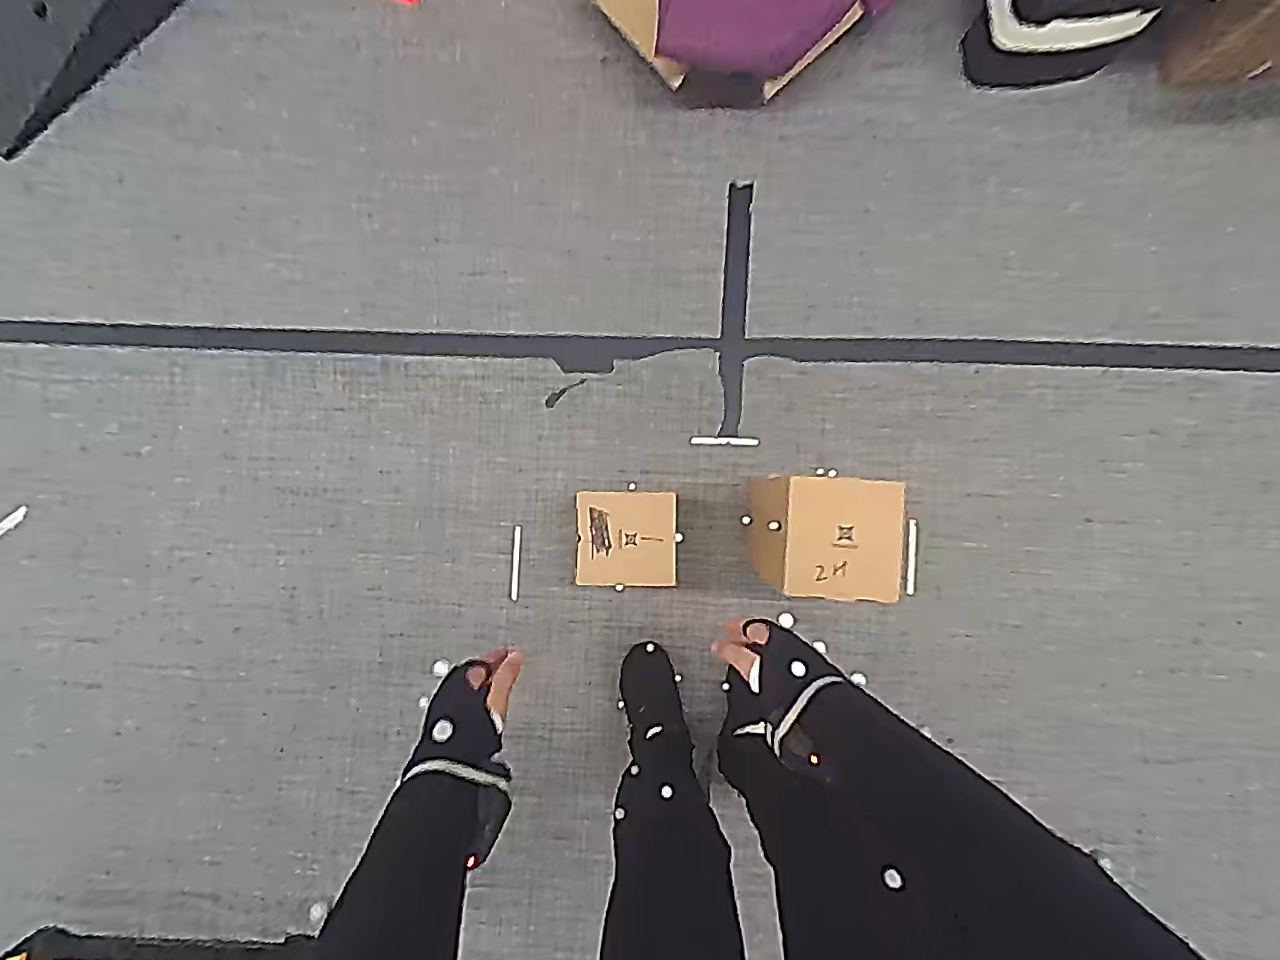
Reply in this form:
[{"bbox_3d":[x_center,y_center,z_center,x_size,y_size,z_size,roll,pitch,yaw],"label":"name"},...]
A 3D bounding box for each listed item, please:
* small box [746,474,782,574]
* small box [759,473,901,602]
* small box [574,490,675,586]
[{"bbox_3d":[0.295,0.080,1.016,0.168,0.176,0.179,2,89,2],"label":"small box"},{"bbox_3d":[0.288,0.083,0.850,0.168,0.176,0.179,4,89,1],"label":"small box"},{"bbox_3d":[-0.025,0.103,1.020,0.179,0.176,0.168,0,89,1],"label":"small box"}]
